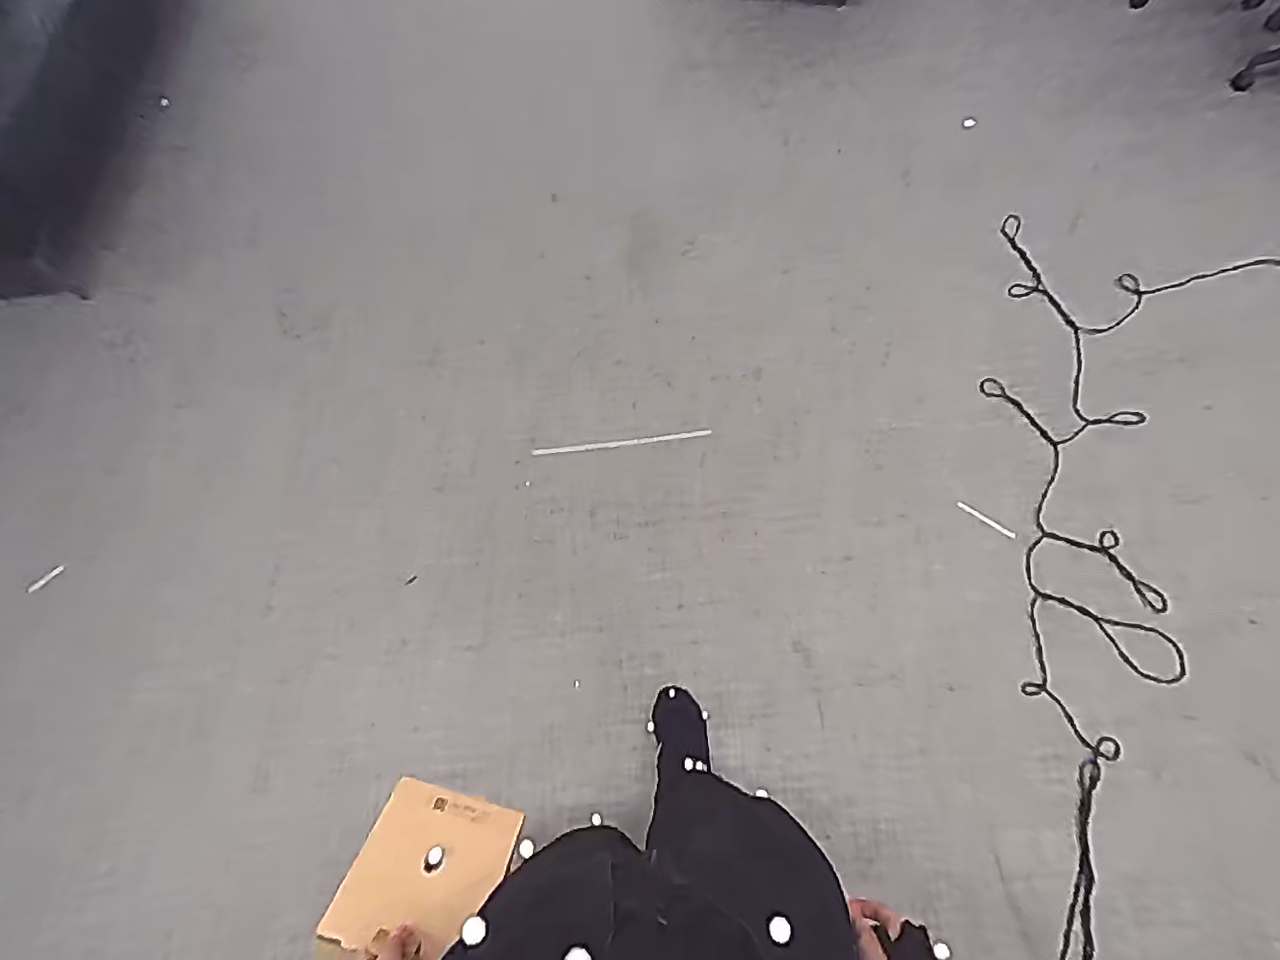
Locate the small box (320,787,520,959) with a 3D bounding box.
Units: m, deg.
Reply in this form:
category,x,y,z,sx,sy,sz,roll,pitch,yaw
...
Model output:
category,x,y,z,sx,sy,sz,roll,pitch,yaw
small box,-0.255,0.511,0.656,0.168,0.179,0.176,16,31,0
